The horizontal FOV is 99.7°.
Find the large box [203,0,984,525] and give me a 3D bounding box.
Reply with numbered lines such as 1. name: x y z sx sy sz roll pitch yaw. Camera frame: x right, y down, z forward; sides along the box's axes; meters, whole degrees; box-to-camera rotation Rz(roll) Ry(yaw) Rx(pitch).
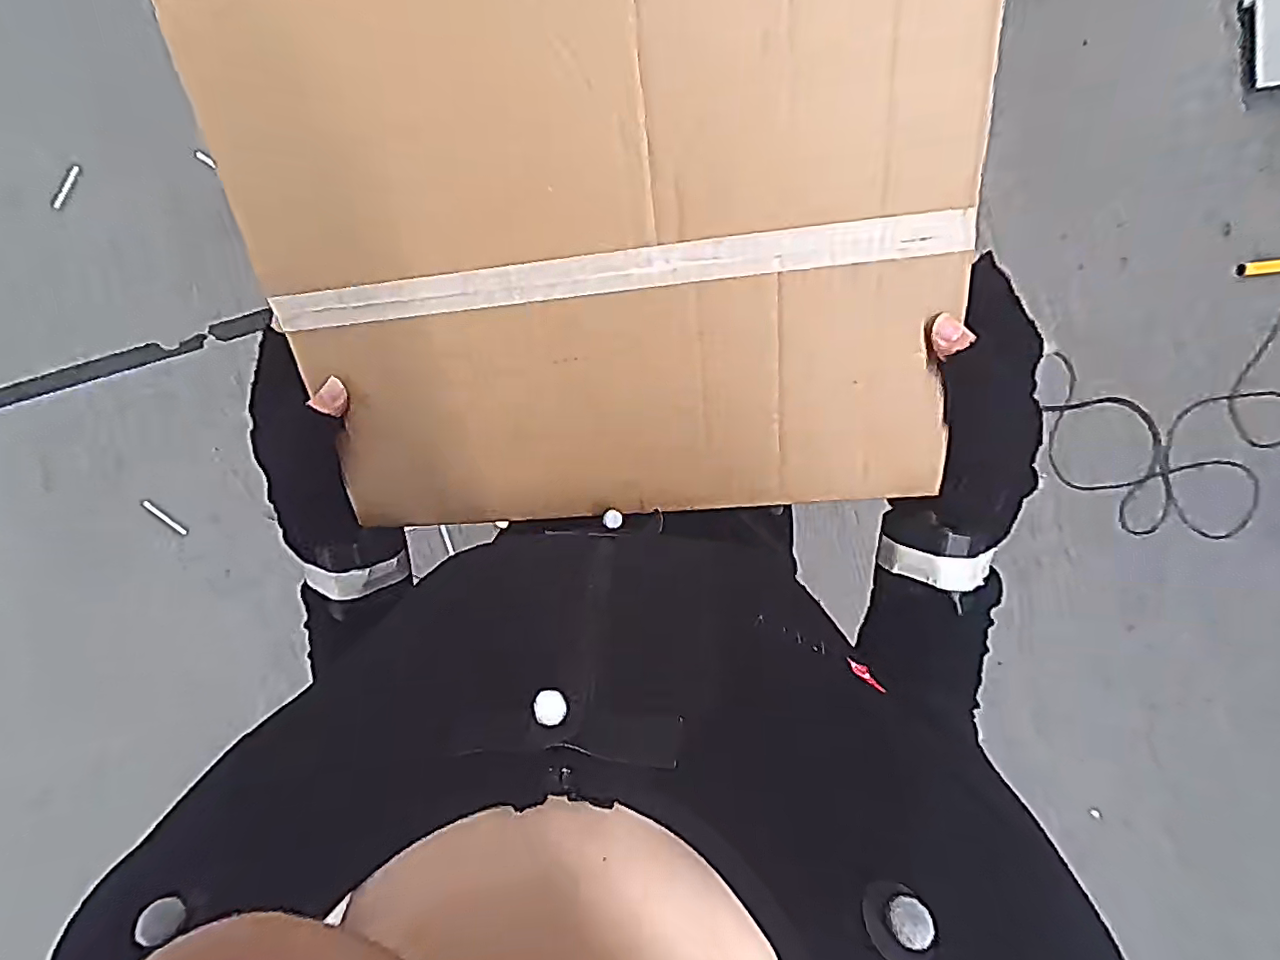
1. large box: -0.010 -0.181 0.455 0.408 0.320 0.320 -4 116 7
